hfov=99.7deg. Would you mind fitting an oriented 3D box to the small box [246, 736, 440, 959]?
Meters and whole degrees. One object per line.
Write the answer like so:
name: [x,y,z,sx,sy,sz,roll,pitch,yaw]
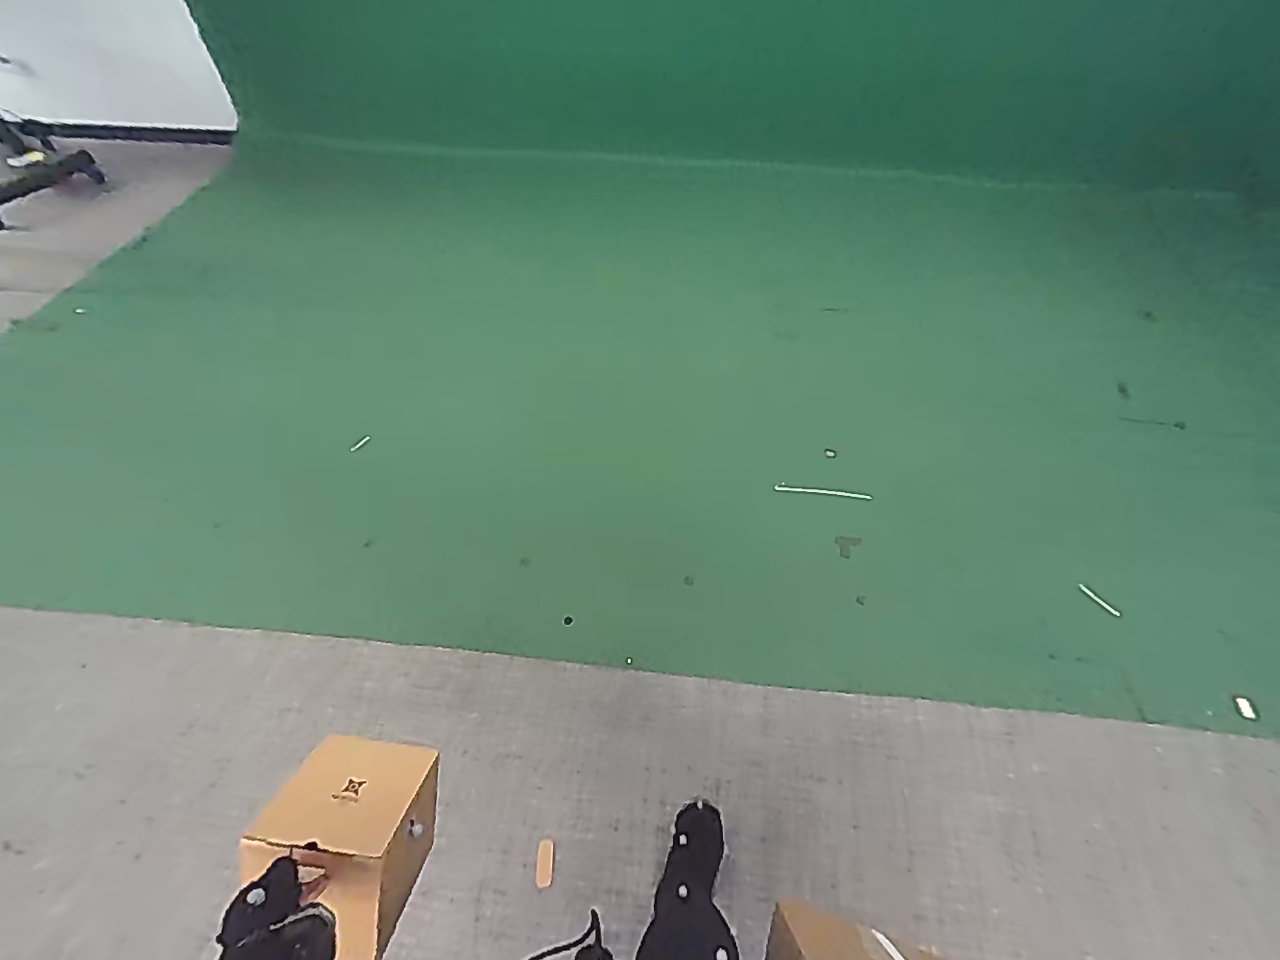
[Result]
small box: [-0.387,0.484,0.723,0.168,0.176,0.179,9,15,0]
